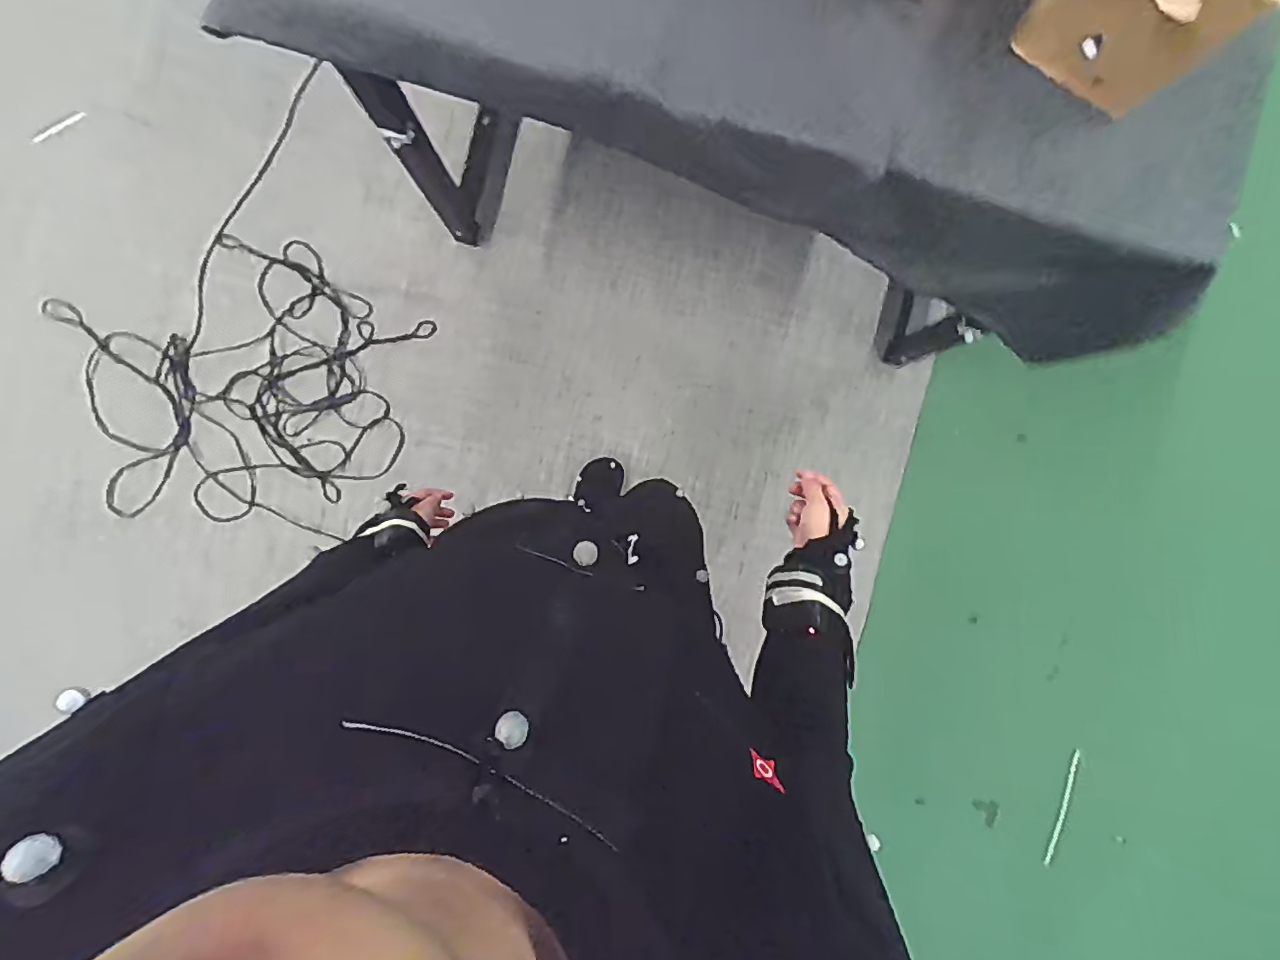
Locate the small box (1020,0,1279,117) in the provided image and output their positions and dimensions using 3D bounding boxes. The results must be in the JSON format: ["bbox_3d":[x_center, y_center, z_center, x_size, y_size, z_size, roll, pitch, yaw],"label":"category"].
[{"bbox_3d":[0.562,-0.550,0.577,0.168,0.176,0.179,31,90,-3],"label":"small box"}]
